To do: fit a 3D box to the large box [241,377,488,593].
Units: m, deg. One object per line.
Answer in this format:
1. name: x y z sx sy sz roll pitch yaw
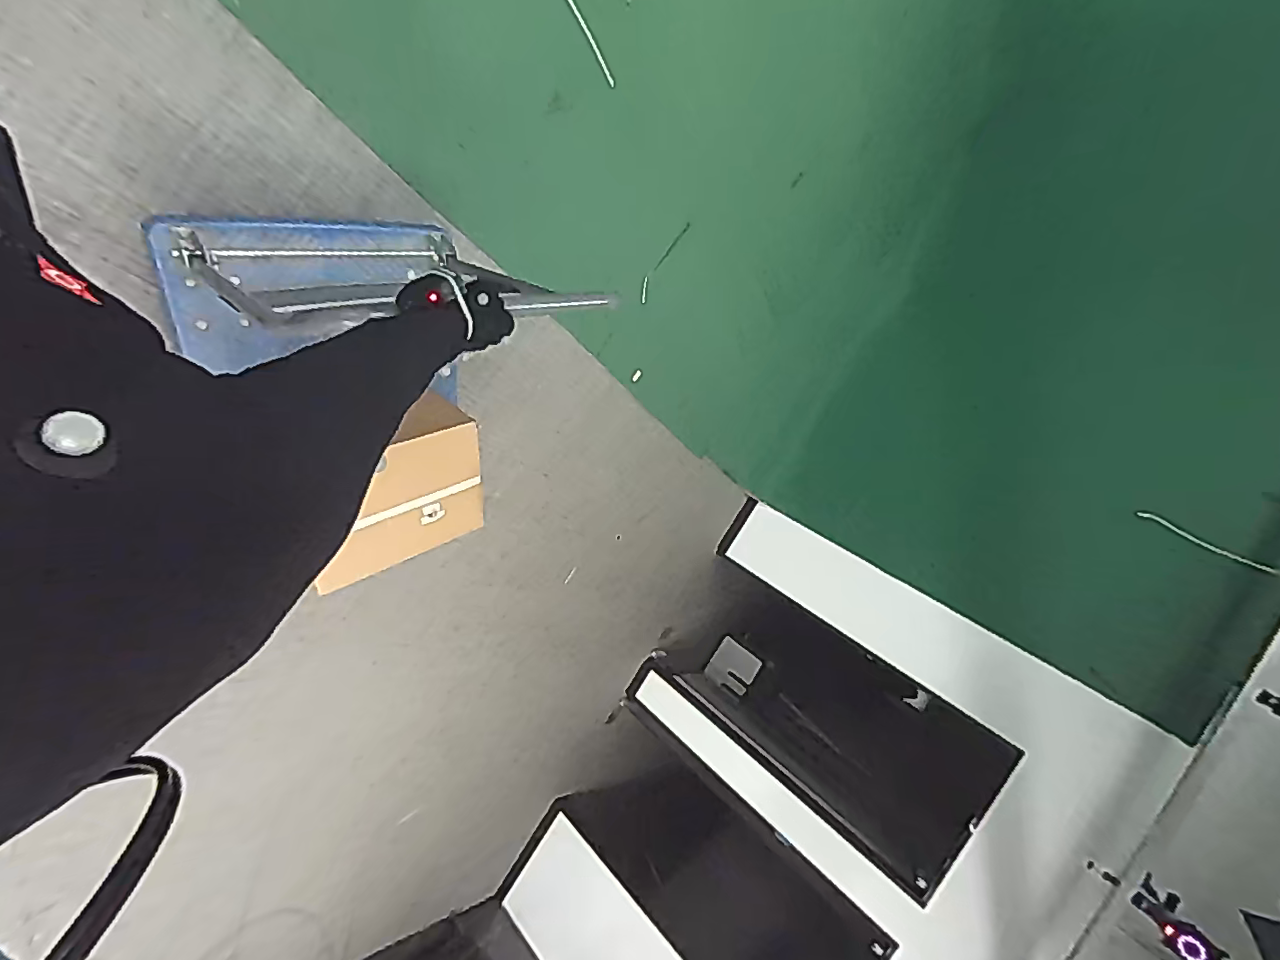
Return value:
1. large box: -0.628 -0.013 1.283 0.408 0.320 0.320 -27 137 -40
